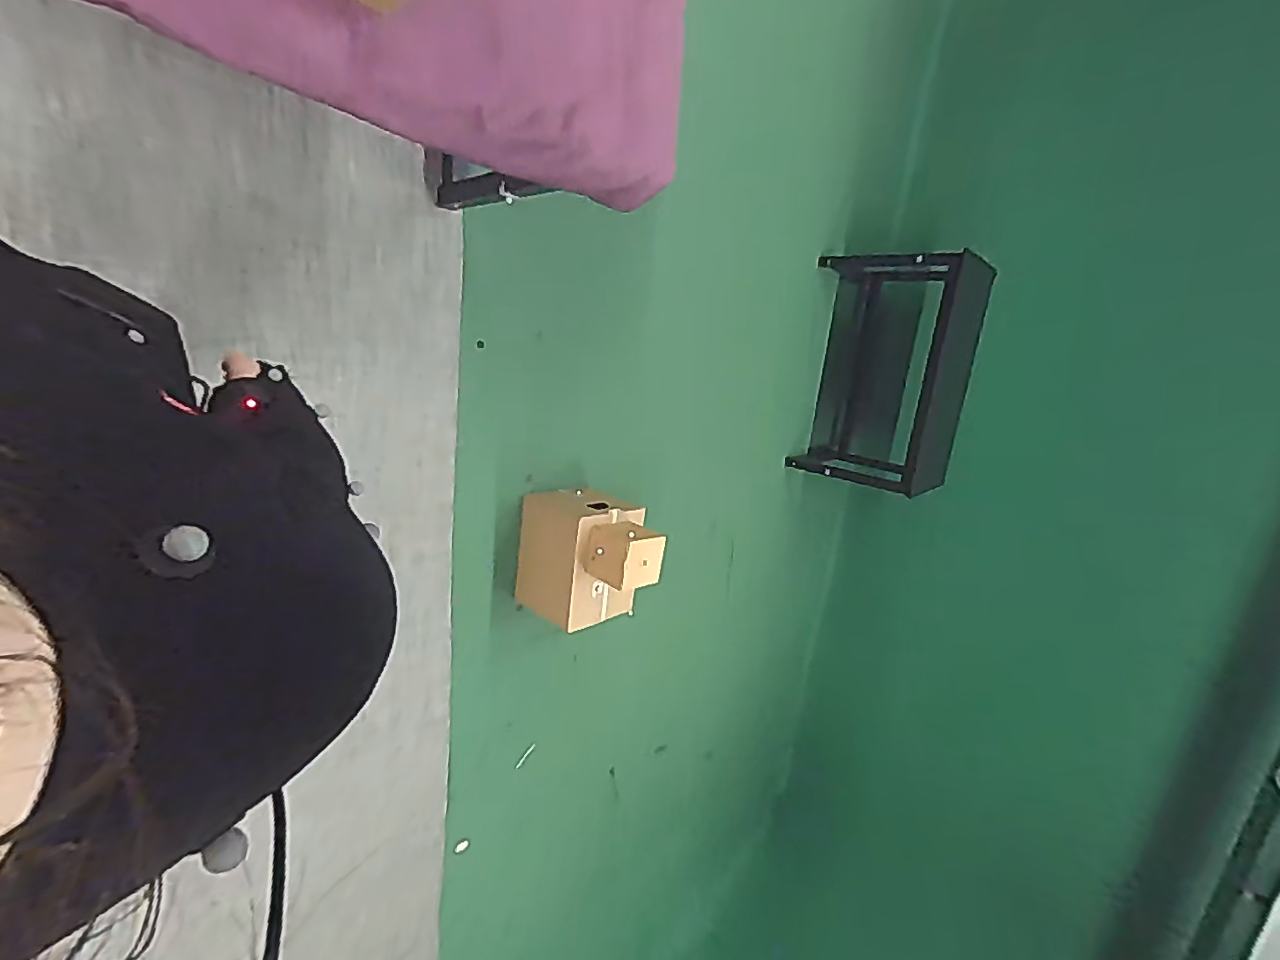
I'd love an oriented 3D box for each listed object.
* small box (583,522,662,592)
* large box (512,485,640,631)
[{"bbox_3d":[-0.057,0.242,1.757,0.179,0.176,0.168,-3,107,-47],"label":"small box"},{"bbox_3d":[-0.236,0.259,1.940,0.320,0.320,0.408,-5,109,-47],"label":"large box"}]
